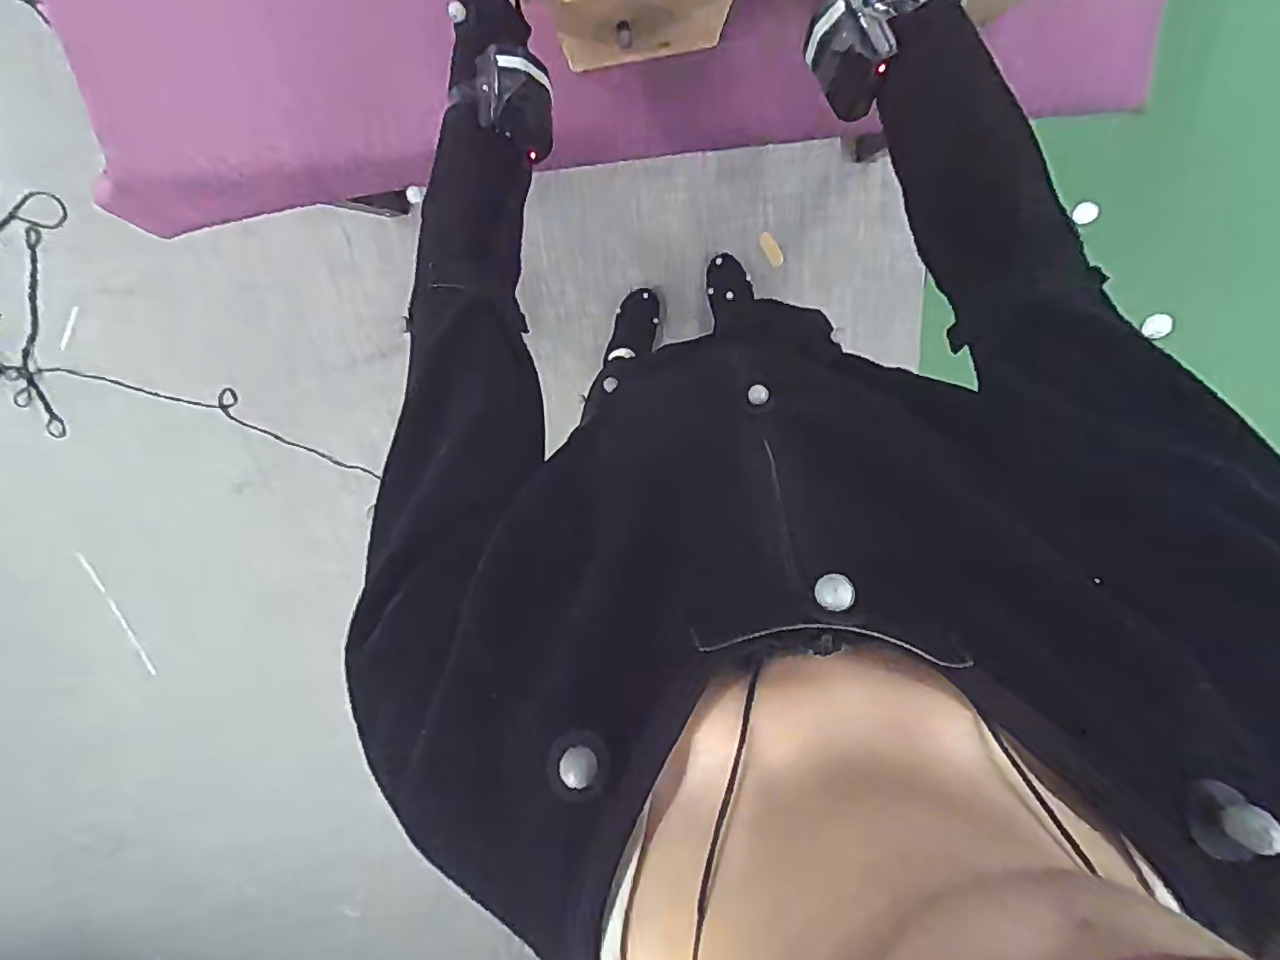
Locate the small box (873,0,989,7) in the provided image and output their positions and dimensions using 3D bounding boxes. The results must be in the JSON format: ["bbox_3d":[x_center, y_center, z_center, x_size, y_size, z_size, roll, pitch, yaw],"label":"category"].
[{"bbox_3d":[0.307,-0.559,0.478,0.168,0.176,0.179,-5,110,1],"label":"small box"}]

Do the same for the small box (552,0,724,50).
[{"bbox_3d":[-0.007,-0.528,0.491,0.168,0.176,0.179,-8,110,3],"label":"small box"}]

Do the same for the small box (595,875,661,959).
[{"bbox_3d":[-0.044,1.525,1.888,0.179,0.176,0.168,-24,111,8],"label":"small box"}]

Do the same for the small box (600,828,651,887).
[{"bbox_3d":[-0.056,1.458,2.036,0.168,0.176,0.179,10,111,-5],"label":"small box"}]
